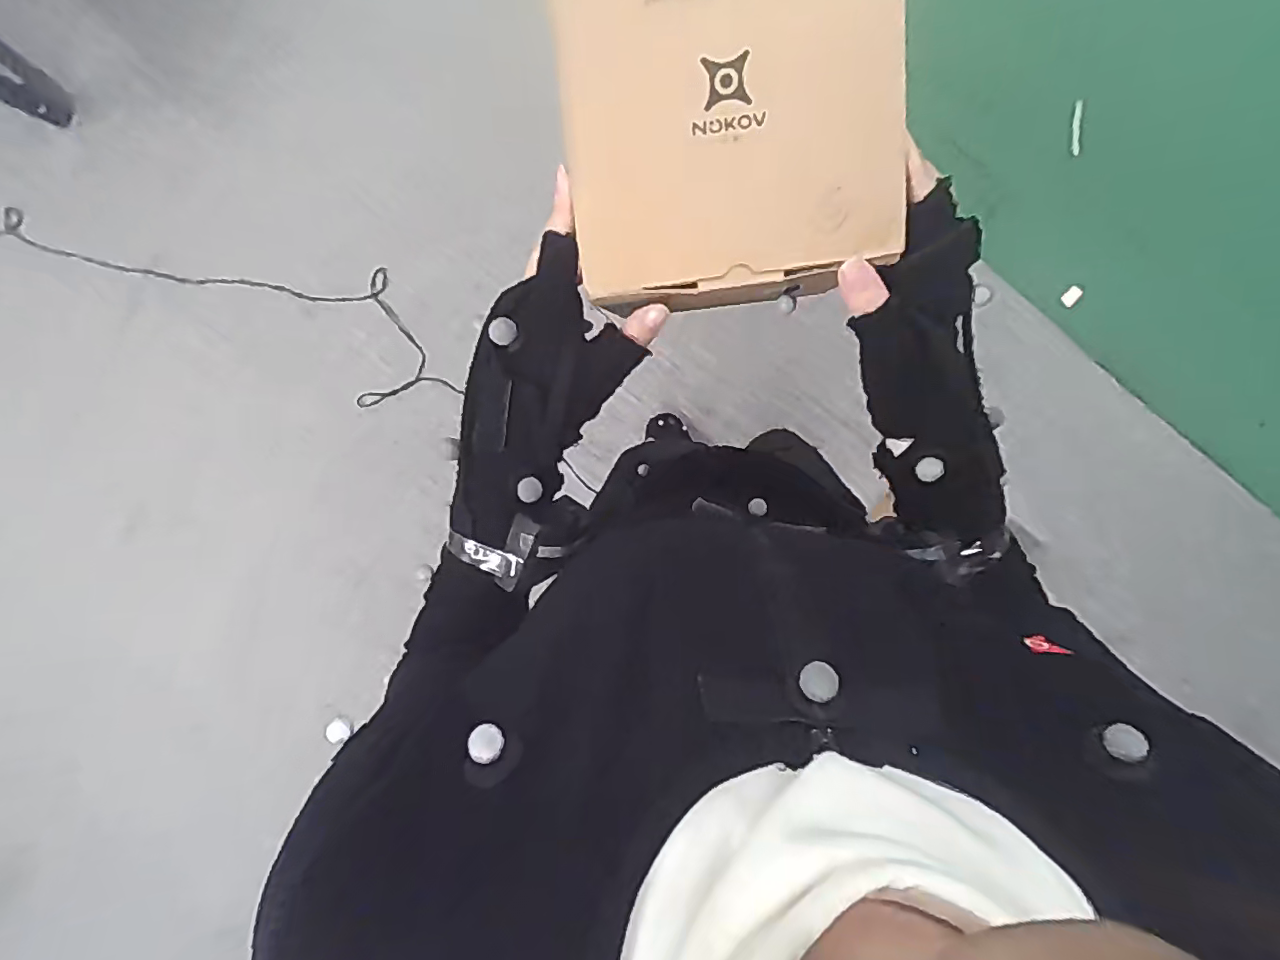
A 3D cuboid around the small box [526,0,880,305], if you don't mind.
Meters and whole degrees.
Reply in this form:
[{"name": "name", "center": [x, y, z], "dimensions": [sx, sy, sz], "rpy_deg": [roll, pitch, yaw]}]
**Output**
[{"name": "small box", "center": [0.038, -0.210, 0.338], "dimensions": [0.168, 0.176, 0.179], "rpy_deg": [-5, 102, 6]}]
